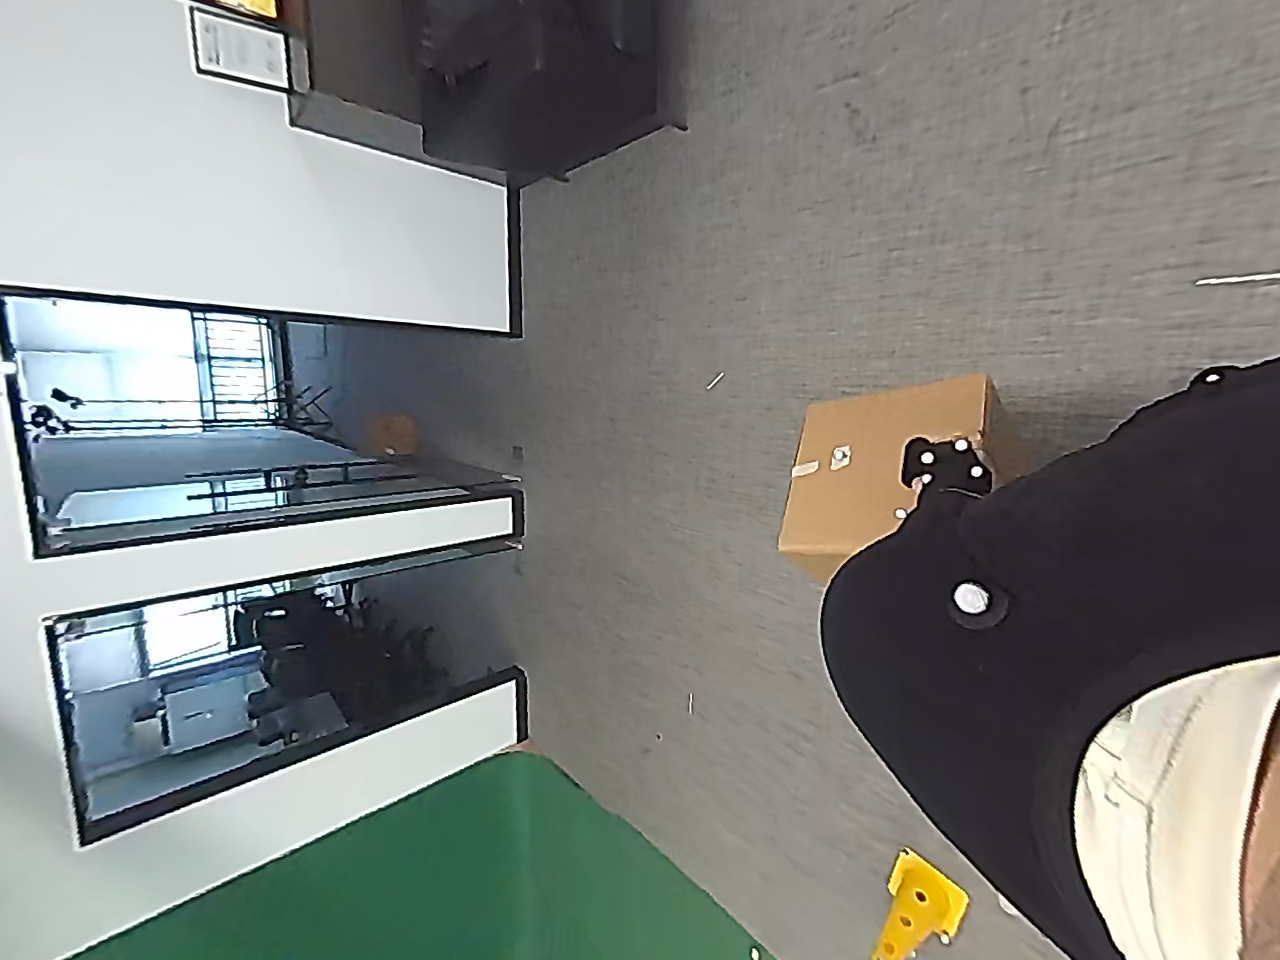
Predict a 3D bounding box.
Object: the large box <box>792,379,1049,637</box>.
[{"bbox_3d":[0.531,0.075,1.016,0.320,0.408,0.320,-7,56,45],"label":"large box"}]
